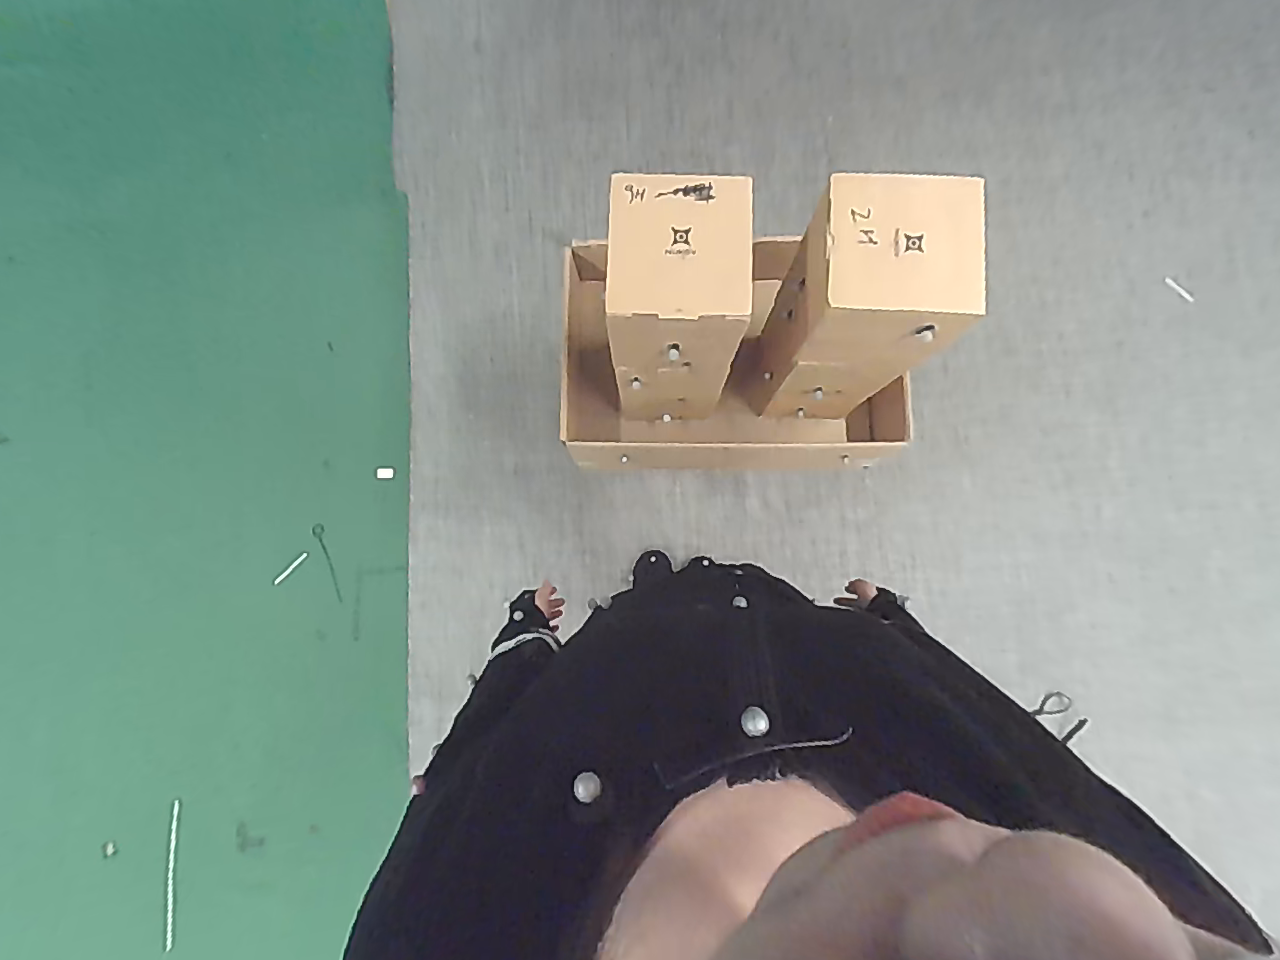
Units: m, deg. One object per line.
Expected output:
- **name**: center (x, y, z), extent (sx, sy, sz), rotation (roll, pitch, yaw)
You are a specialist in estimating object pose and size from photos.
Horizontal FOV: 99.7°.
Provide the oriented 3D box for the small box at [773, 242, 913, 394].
- **small box**: center (0.307, -0.245, 0.847), extent (0.168, 0.176, 0.179), rotation (2, 84, 3)
